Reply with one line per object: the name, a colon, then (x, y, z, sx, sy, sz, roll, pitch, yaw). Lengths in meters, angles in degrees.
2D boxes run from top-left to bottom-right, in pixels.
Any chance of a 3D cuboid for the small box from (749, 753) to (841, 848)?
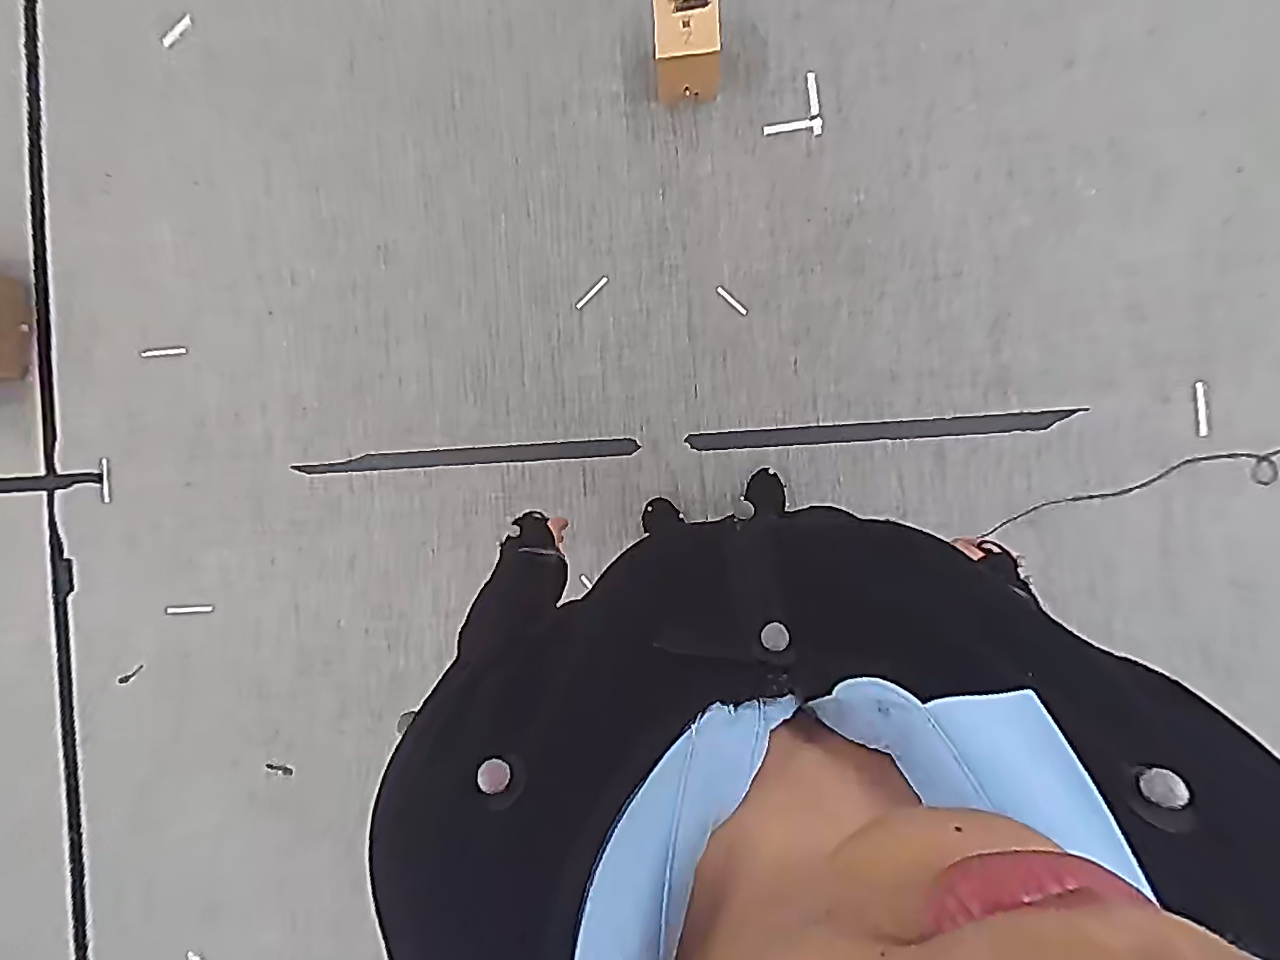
small box: (0.341, 0.741, 1.204, 0.168, 0.176, 0.179, -9, 88, 6)
